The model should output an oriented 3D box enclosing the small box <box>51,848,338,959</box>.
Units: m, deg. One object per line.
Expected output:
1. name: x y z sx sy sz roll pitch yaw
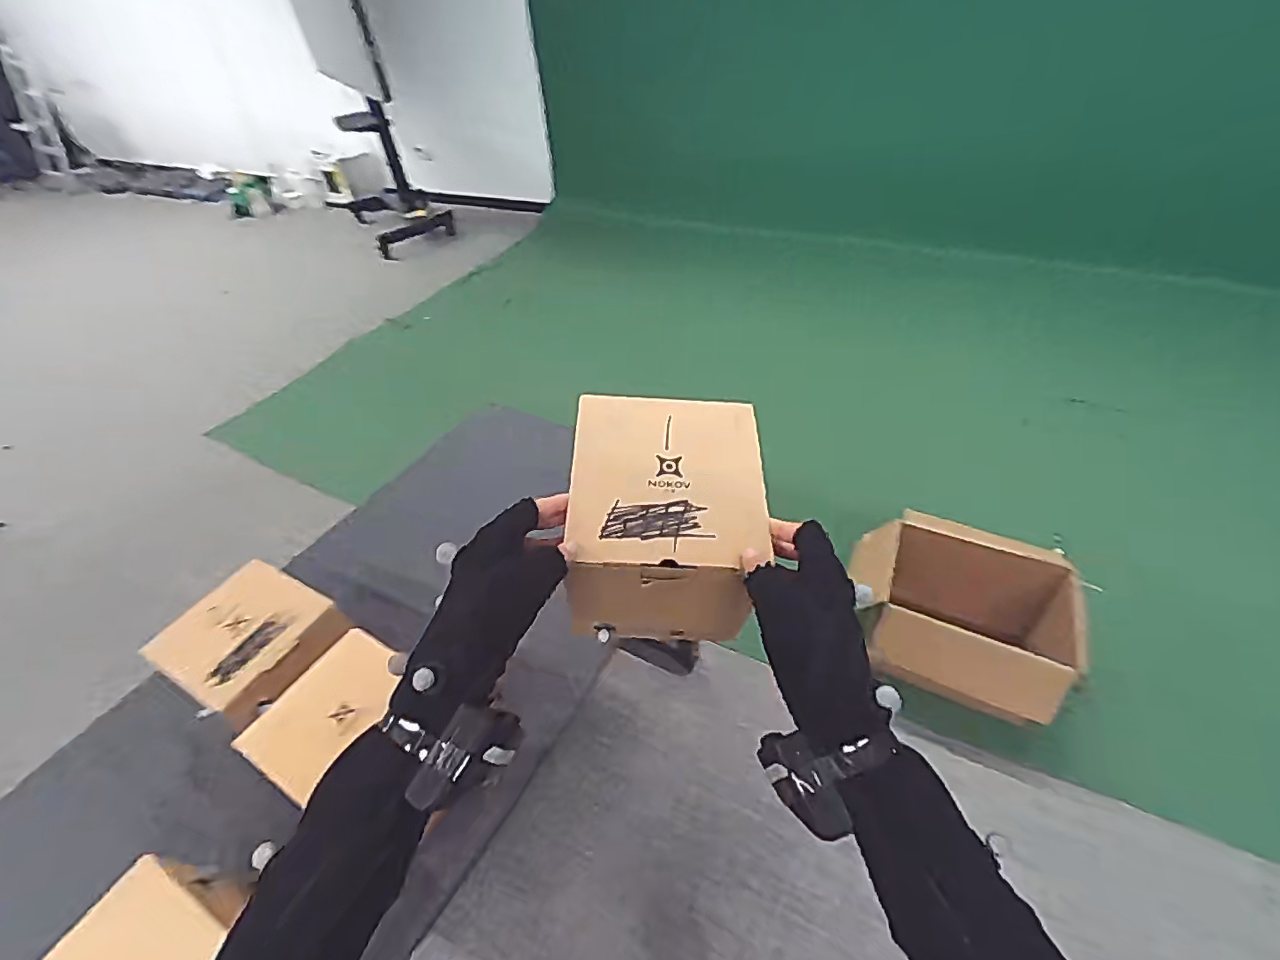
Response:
1. small box: -0.426 0.491 0.501 0.179 0.176 0.168 18 49 22
